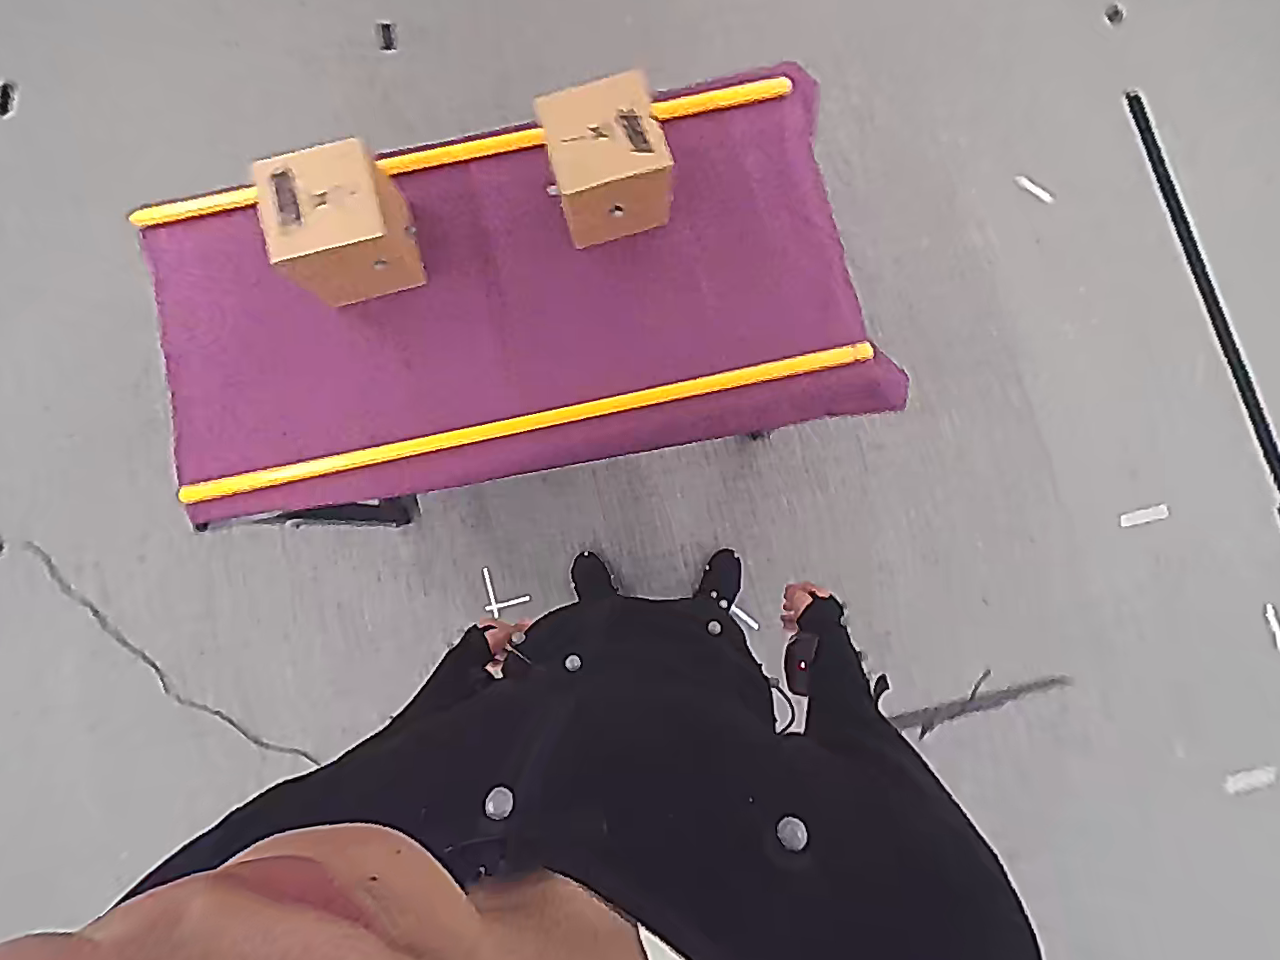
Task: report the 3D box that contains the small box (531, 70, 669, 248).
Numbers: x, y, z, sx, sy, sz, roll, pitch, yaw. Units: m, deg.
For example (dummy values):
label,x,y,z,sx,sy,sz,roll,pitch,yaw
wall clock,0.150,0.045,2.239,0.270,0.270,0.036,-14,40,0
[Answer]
label,x,y,z,sx,sy,sz,roll,pitch,yaw
small box,-0.061,-0.519,0.897,0.179,0.176,0.168,-17,85,0
